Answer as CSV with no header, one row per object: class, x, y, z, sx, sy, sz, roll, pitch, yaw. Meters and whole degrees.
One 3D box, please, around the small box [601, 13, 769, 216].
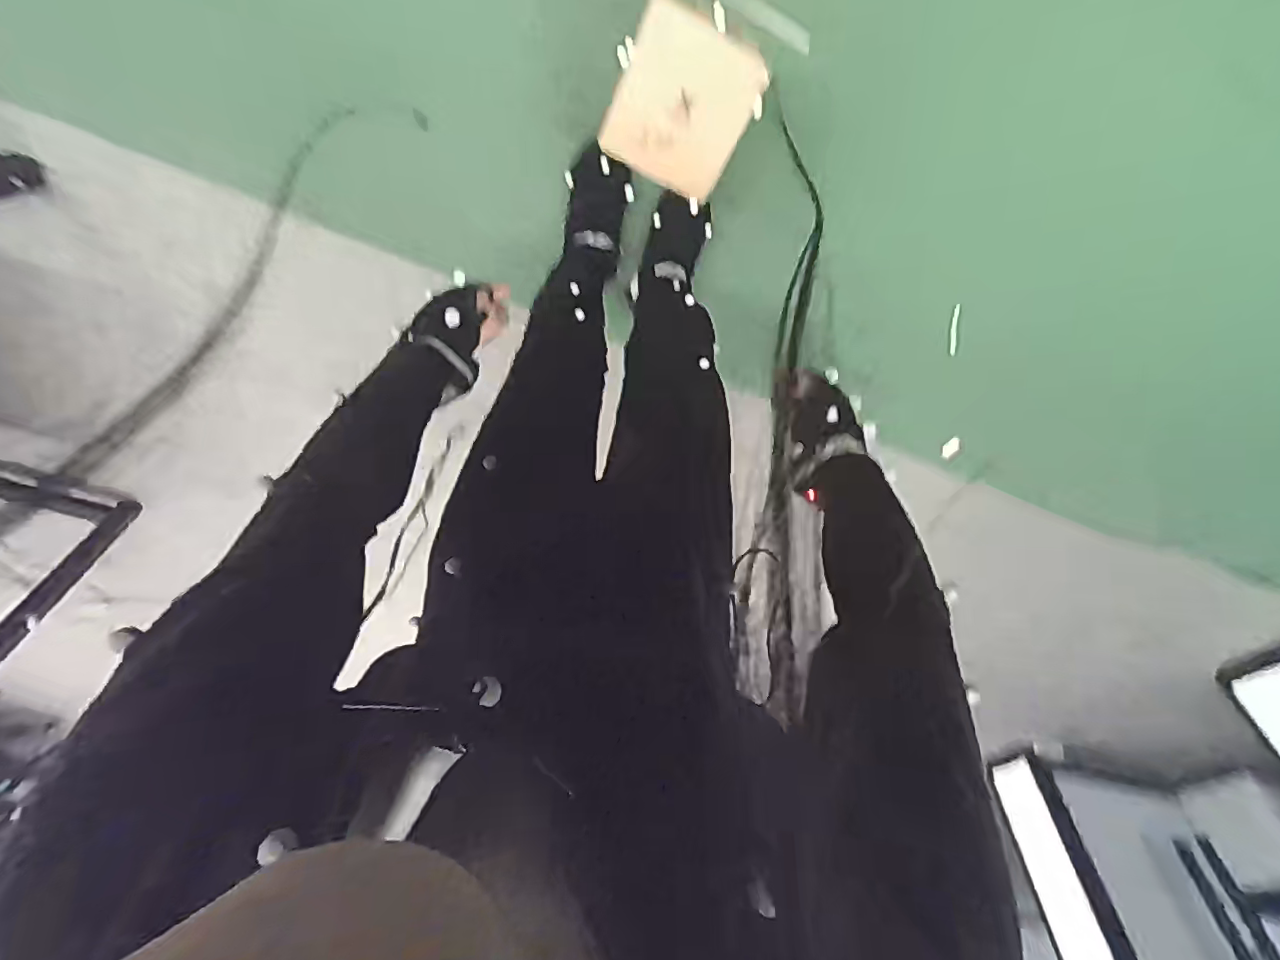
small box,0.057,-0.522,0.771,0.168,0.176,0.179,22,130,-16
